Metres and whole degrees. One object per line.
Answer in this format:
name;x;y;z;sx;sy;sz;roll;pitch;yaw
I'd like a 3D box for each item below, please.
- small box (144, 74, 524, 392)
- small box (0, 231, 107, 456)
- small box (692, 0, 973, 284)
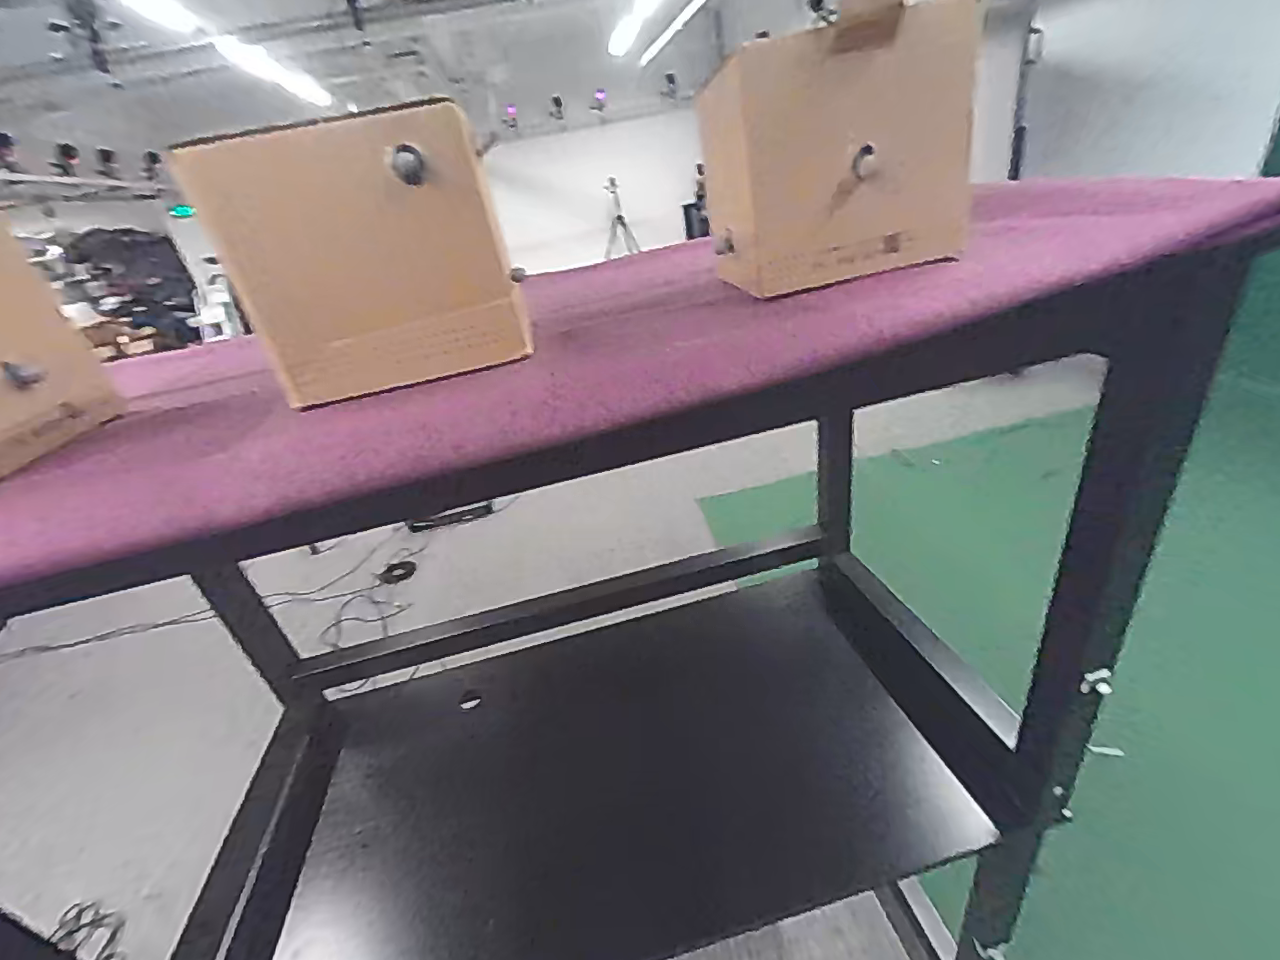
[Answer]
small box;-0.199;-0.178;0.418;0.179;0.176;0.168;-14;27;-6
small box;-0.545;-0.083;0.363;0.179;0.176;0.168;-14;30;-6
small box;0.149;-0.272;0.454;0.168;0.176;0.179;-12;27;1
